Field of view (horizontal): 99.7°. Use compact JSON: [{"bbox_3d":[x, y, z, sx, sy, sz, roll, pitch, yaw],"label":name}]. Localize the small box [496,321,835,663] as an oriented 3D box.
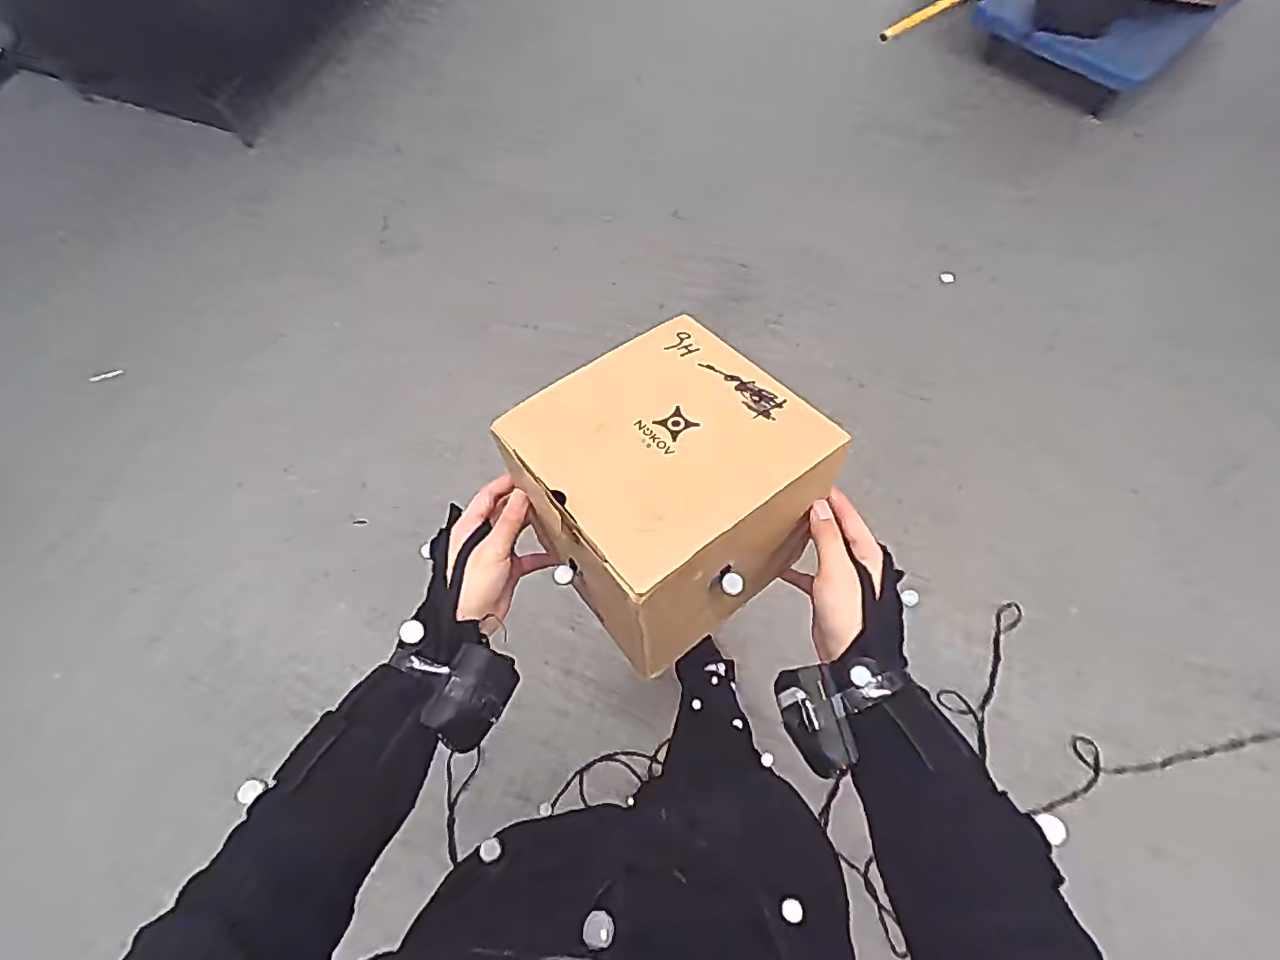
[{"bbox_3d":[0.020,0.015,0.430,0.179,0.176,0.168,-34,60,-18],"label":"small box"}]
